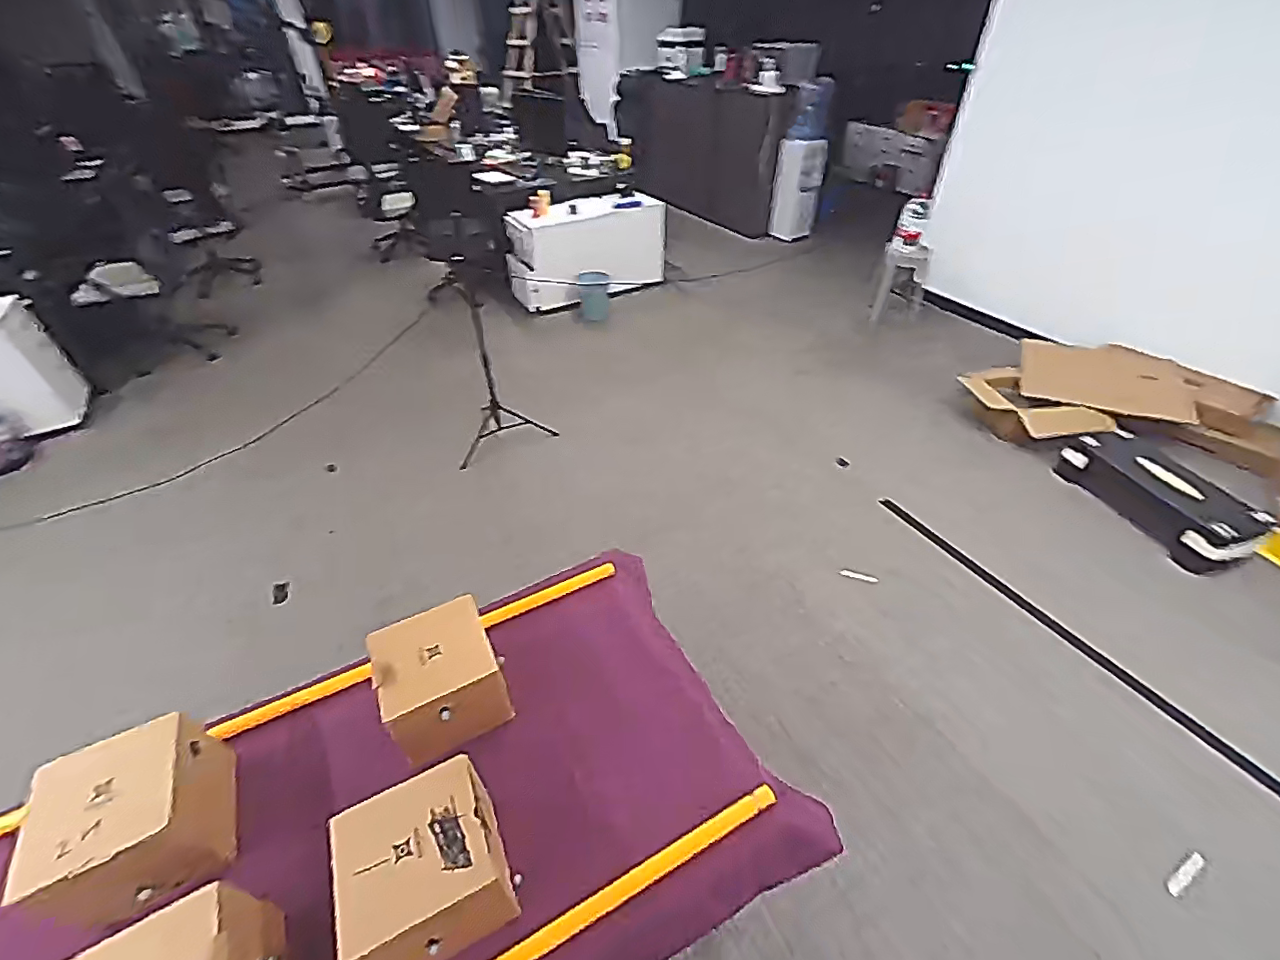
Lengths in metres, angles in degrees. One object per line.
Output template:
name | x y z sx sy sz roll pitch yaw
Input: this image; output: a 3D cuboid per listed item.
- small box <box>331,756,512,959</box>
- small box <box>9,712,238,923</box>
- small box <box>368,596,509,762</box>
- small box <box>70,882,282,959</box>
small box | -0.279 0.511 0.713 0.179 0.176 0.168 -20 43 -19
small box | -0.703 0.474 0.764 0.168 0.176 0.179 -21 47 -21
small box | -0.333 0.336 0.916 0.179 0.176 0.168 -21 46 -20
small box | -0.525 0.608 0.608 0.179 0.176 0.168 -21 45 -23
